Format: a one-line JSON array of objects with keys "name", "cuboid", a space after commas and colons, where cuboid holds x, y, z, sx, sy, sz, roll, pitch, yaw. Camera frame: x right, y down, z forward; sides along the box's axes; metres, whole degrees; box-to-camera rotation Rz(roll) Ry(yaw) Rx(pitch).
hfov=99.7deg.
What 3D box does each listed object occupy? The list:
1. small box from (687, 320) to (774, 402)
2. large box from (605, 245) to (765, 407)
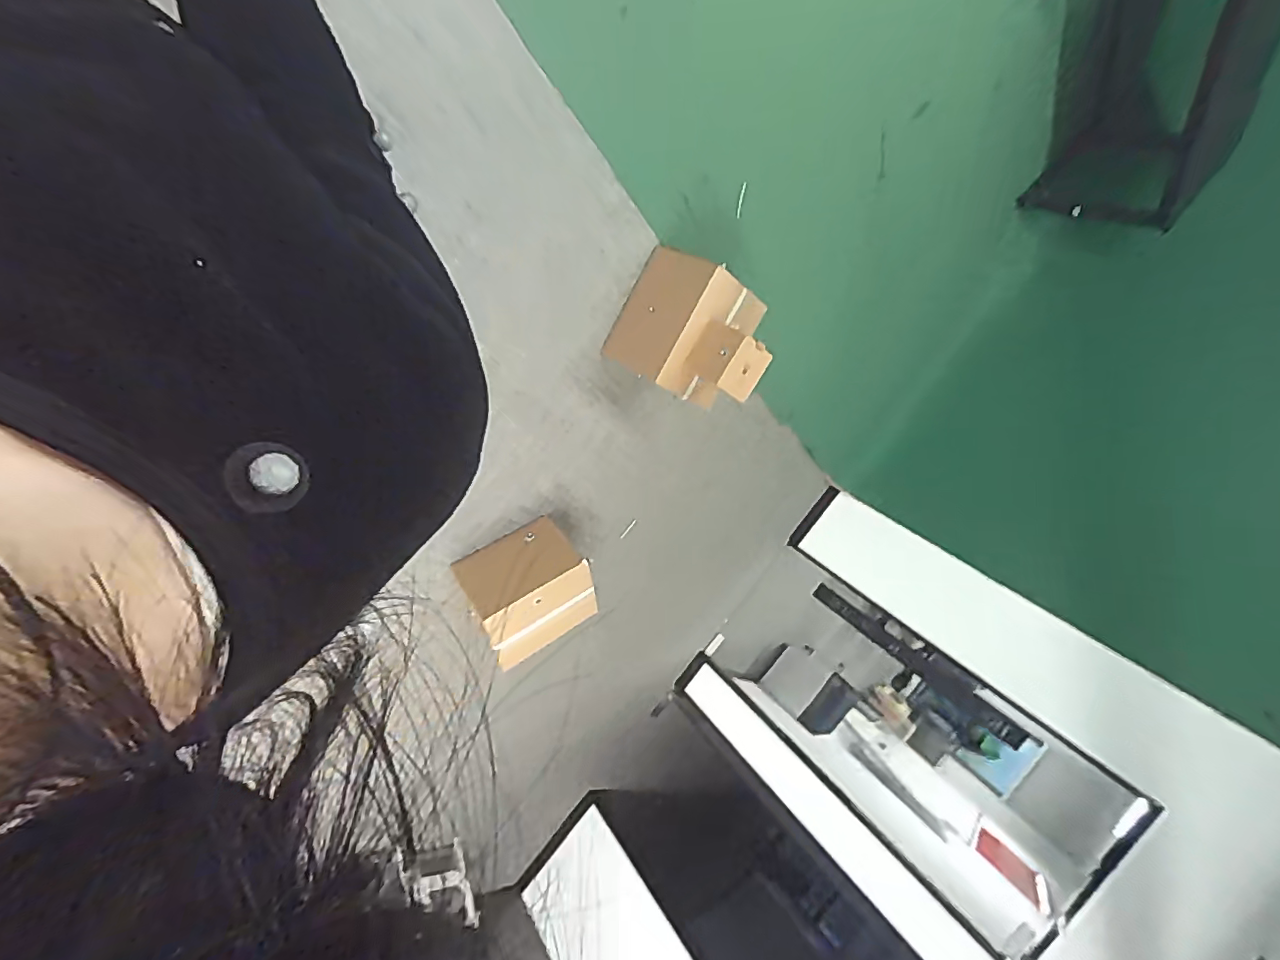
[{"name": "small box", "cuboid": [0.279, -0.377, 1.697, 0.168, 0.176, 0.179, 21, 104, -47]}, {"name": "large box", "cuboid": [0.147, -0.520, 1.850, 0.320, 0.320, 0.408, 16, 107, -49]}]
